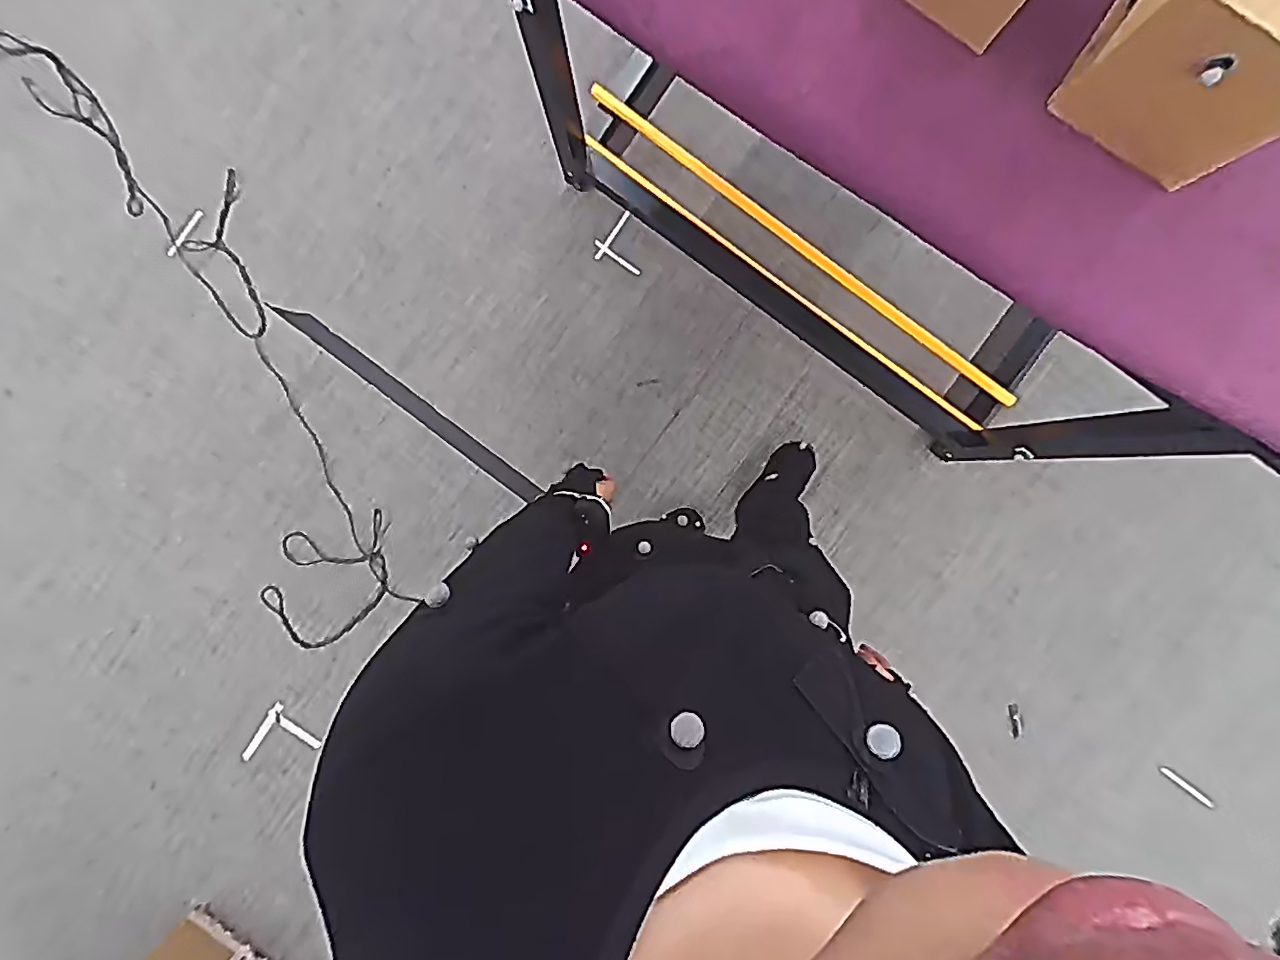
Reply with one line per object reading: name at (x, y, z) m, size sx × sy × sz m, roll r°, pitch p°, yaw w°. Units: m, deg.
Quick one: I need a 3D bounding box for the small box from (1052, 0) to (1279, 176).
small box at (0.578, -0.441, 0.534) m, size 0.179 × 0.176 × 0.168 m, roll 34°, pitch 92°, yaw 1°
